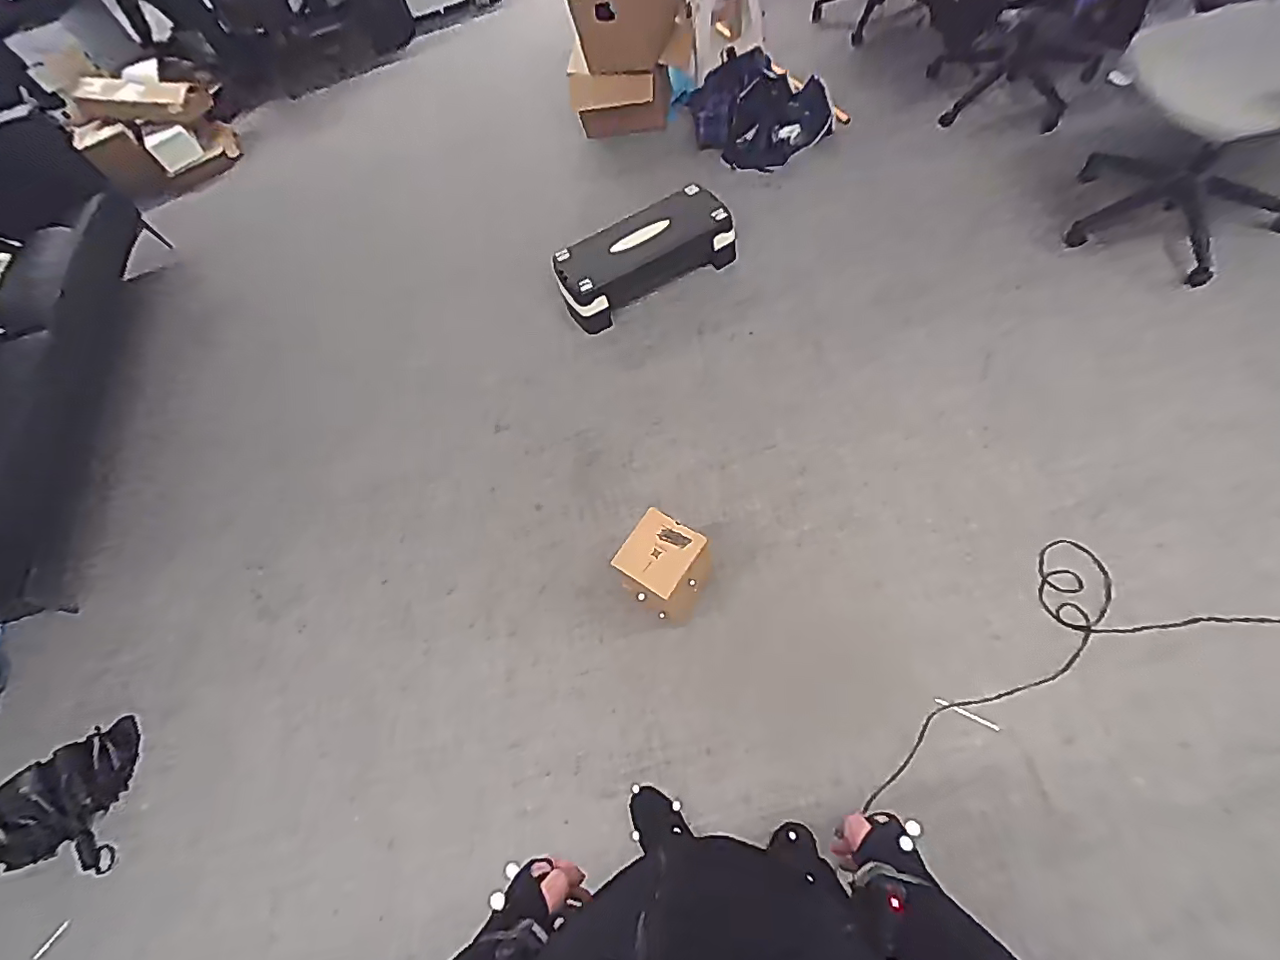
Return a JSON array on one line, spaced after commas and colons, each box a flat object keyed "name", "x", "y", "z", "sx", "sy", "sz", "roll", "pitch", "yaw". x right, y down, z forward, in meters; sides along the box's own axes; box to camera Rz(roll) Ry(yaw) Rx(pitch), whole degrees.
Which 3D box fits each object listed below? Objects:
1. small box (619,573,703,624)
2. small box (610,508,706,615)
[{"name": "small box", "x": 0.066, "y": 0.274, "z": 1.493, "sx": 0.168, "sy": 0.176, "sz": 0.179, "roll": 22, "pitch": 67, "yaw": 20}, {"name": "small box", "x": 0.052, "y": 0.206, "z": 1.343, "sx": 0.168, "sy": 0.176, "sz": 0.179, "roll": 29, "pitch": 72, "yaw": 24}]
